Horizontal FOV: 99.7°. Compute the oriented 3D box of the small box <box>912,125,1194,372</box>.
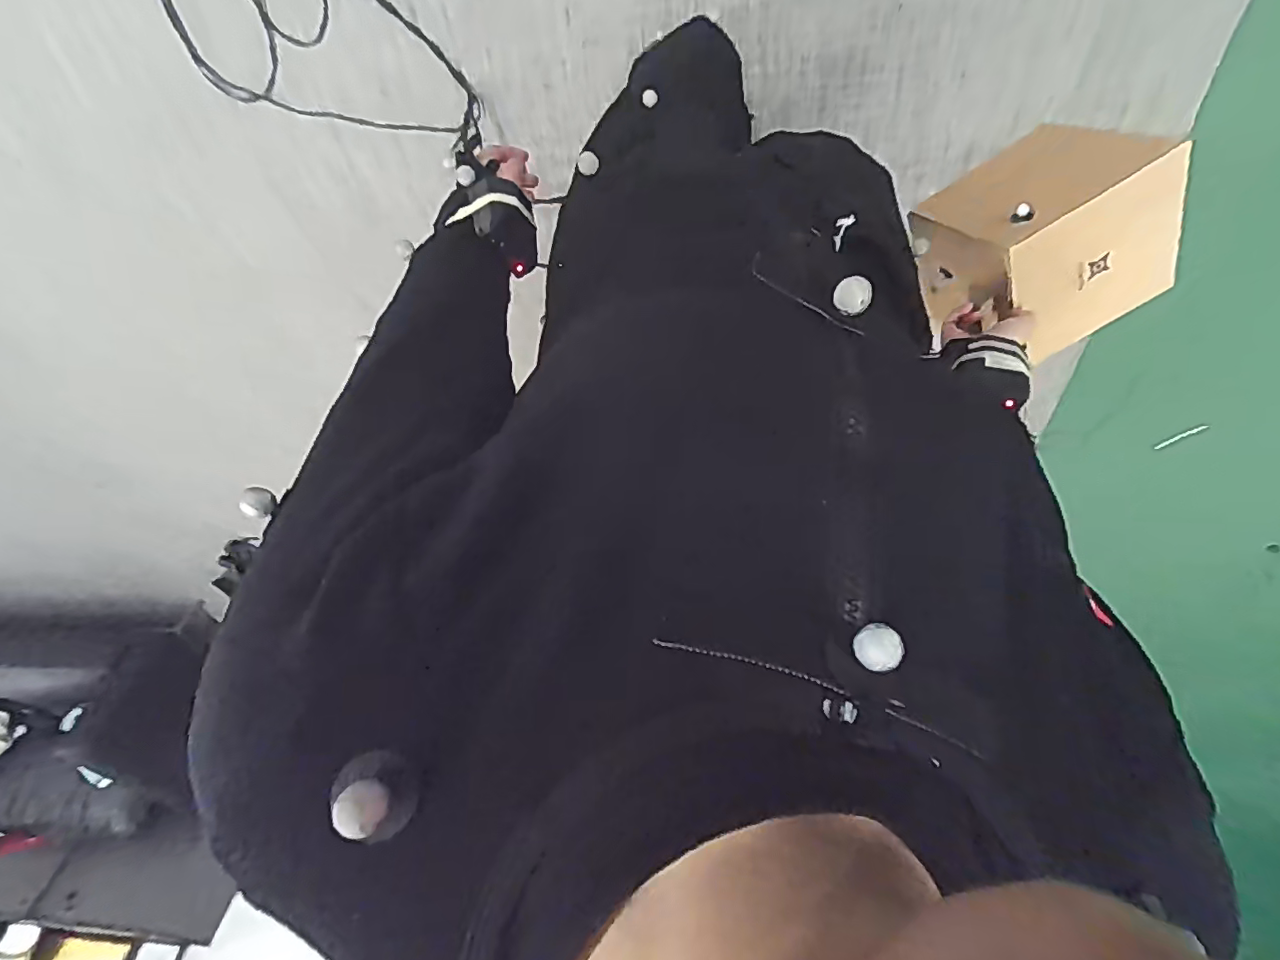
[{"bbox_3d":[0.445,-0.263,0.608,0.179,0.176,0.168,-31,129,12],"label":"small box"}]
